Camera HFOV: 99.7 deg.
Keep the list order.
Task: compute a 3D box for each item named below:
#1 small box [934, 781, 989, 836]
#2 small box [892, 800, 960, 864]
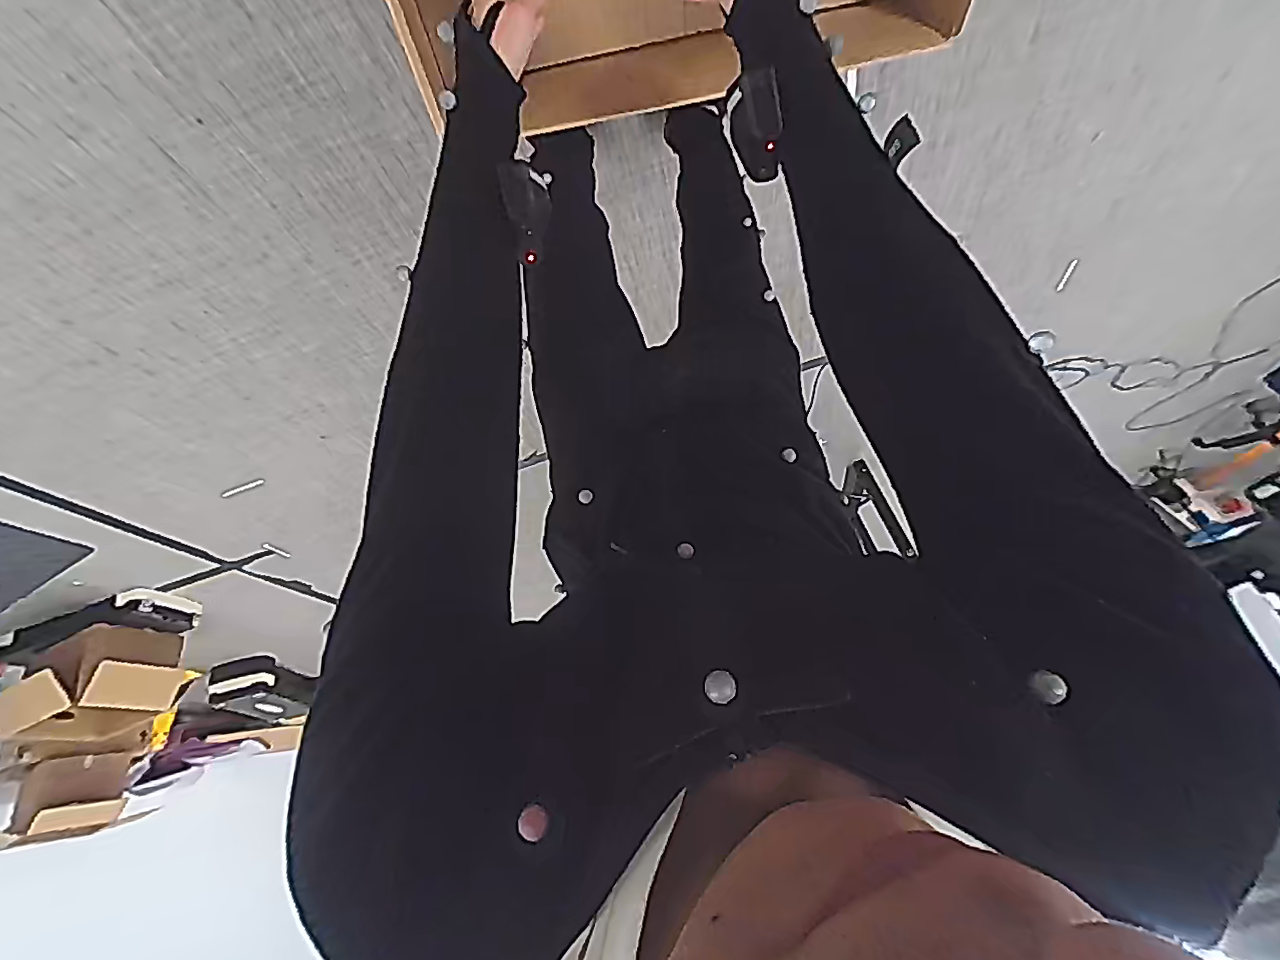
[{"bbox_3d":[1.409,1.418,2.342,0.179,0.176,0.168,-19,149,7],"label":"small box"},{"bbox_3d":[1.111,1.370,2.116,0.168,0.176,0.179,-22,151,8],"label":"small box"}]
